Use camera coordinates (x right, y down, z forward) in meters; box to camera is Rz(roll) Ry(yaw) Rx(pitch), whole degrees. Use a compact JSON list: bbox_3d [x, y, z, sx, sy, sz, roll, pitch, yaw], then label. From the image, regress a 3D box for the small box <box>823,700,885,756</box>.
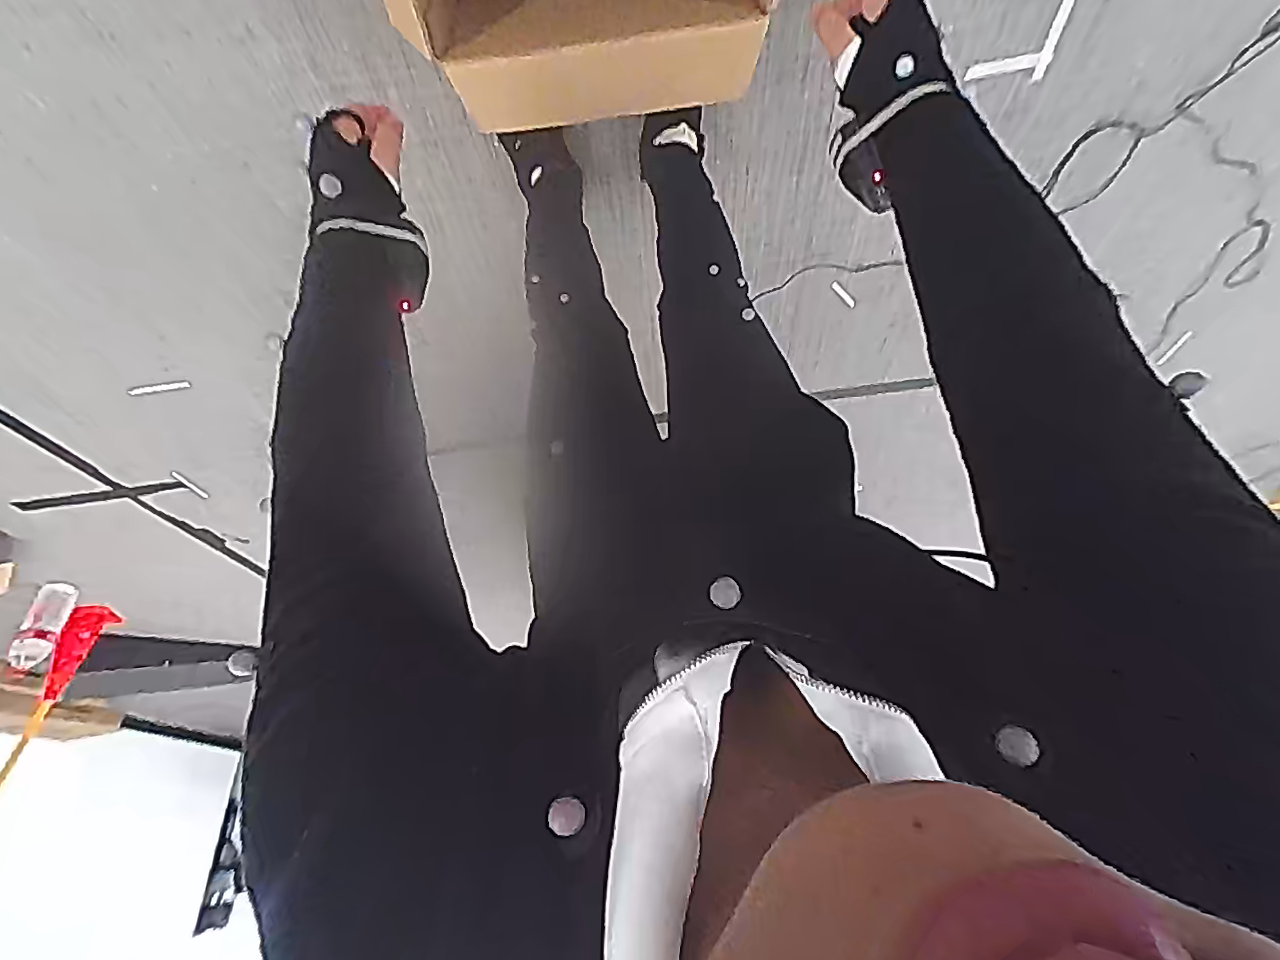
[{"bbox_3d":[0.837,0.977,2.133,0.168,0.176,0.179,-9,147,3],"label":"small box"}]
